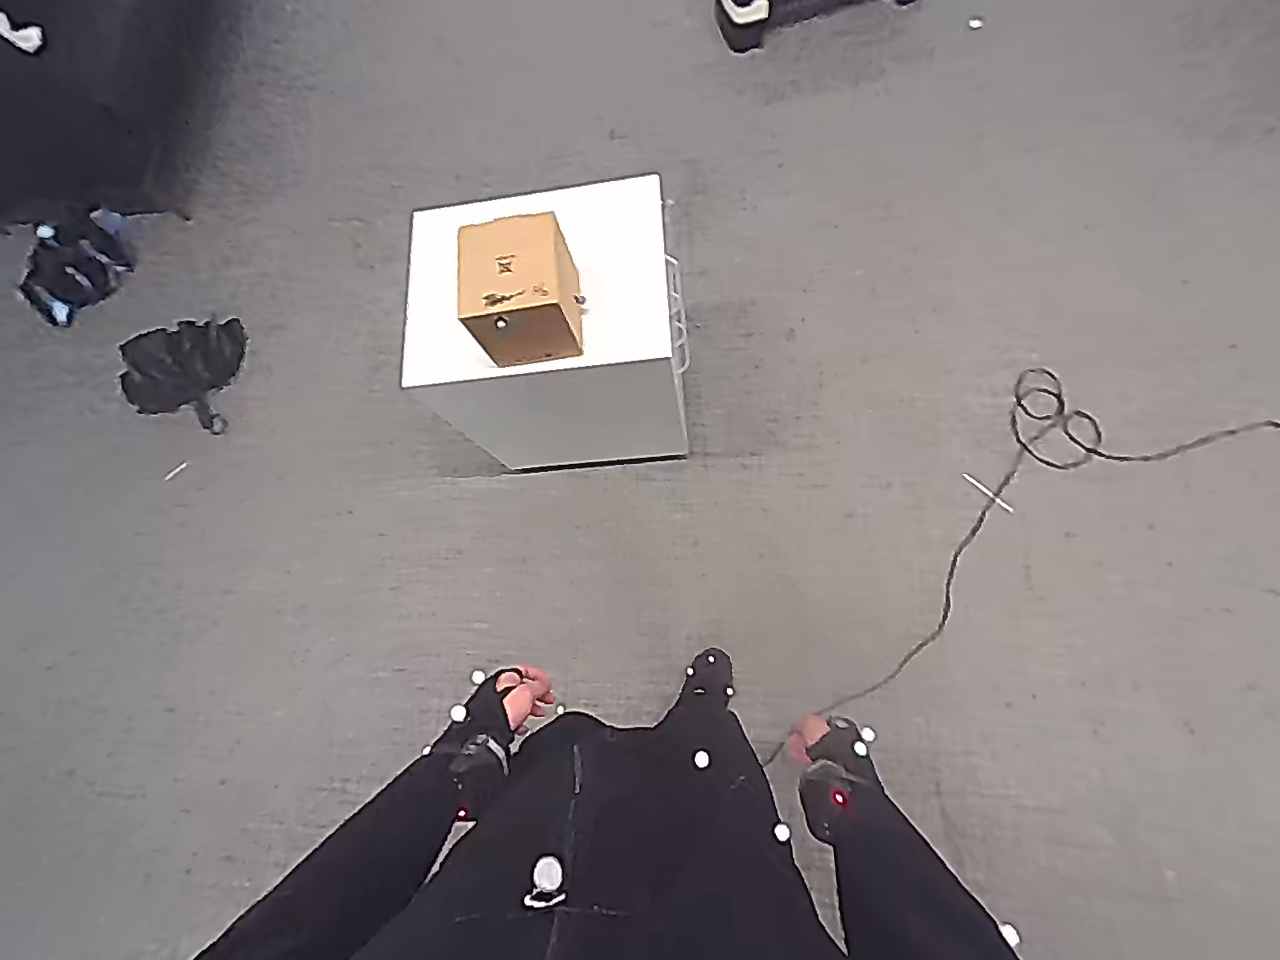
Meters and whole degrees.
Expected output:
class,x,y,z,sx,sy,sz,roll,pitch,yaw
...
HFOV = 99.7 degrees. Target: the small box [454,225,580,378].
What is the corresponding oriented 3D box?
class,x,y,z,sx,sy,sz,roll,pitch,yaw
small box,-0.206,-0.301,0.936,0.168,0.176,0.179,-8,72,6
